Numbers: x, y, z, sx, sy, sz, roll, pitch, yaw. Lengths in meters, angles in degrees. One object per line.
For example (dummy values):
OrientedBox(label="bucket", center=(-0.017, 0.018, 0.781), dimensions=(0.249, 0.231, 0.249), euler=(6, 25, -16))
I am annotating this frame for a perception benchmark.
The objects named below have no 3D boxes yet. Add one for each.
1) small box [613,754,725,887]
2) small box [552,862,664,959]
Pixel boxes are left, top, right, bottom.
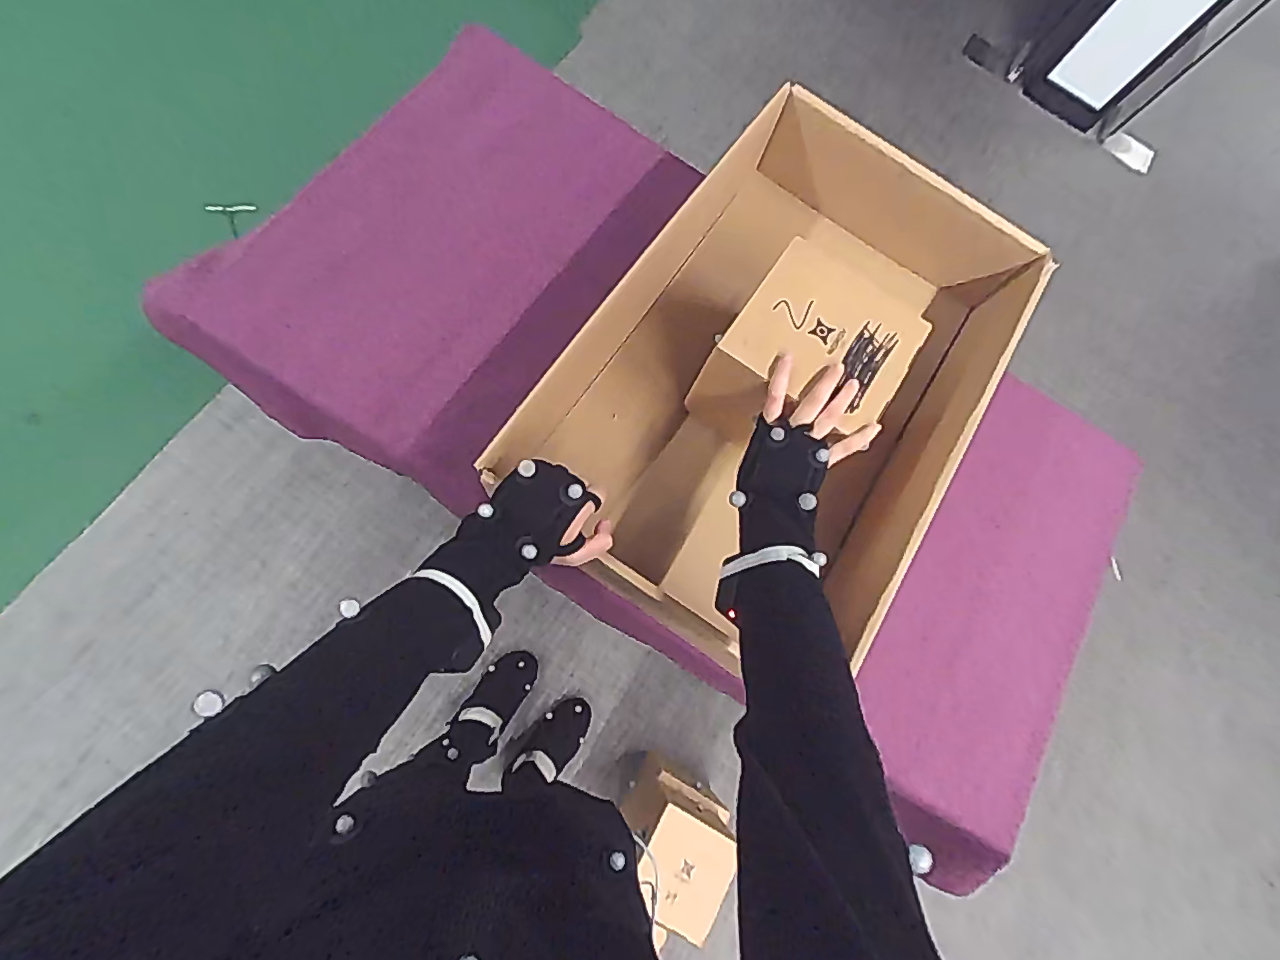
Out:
OrientedBox(label="small box", center=(0.058, 0.743, 1.205), dimensions=(0.179, 0.176, 0.168), euler=(32, 74, 1))
OrientedBox(label="small box", center=(-0.075, 0.946, 1.136), dimensions=(0.179, 0.176, 0.168), euler=(29, 73, -2))
